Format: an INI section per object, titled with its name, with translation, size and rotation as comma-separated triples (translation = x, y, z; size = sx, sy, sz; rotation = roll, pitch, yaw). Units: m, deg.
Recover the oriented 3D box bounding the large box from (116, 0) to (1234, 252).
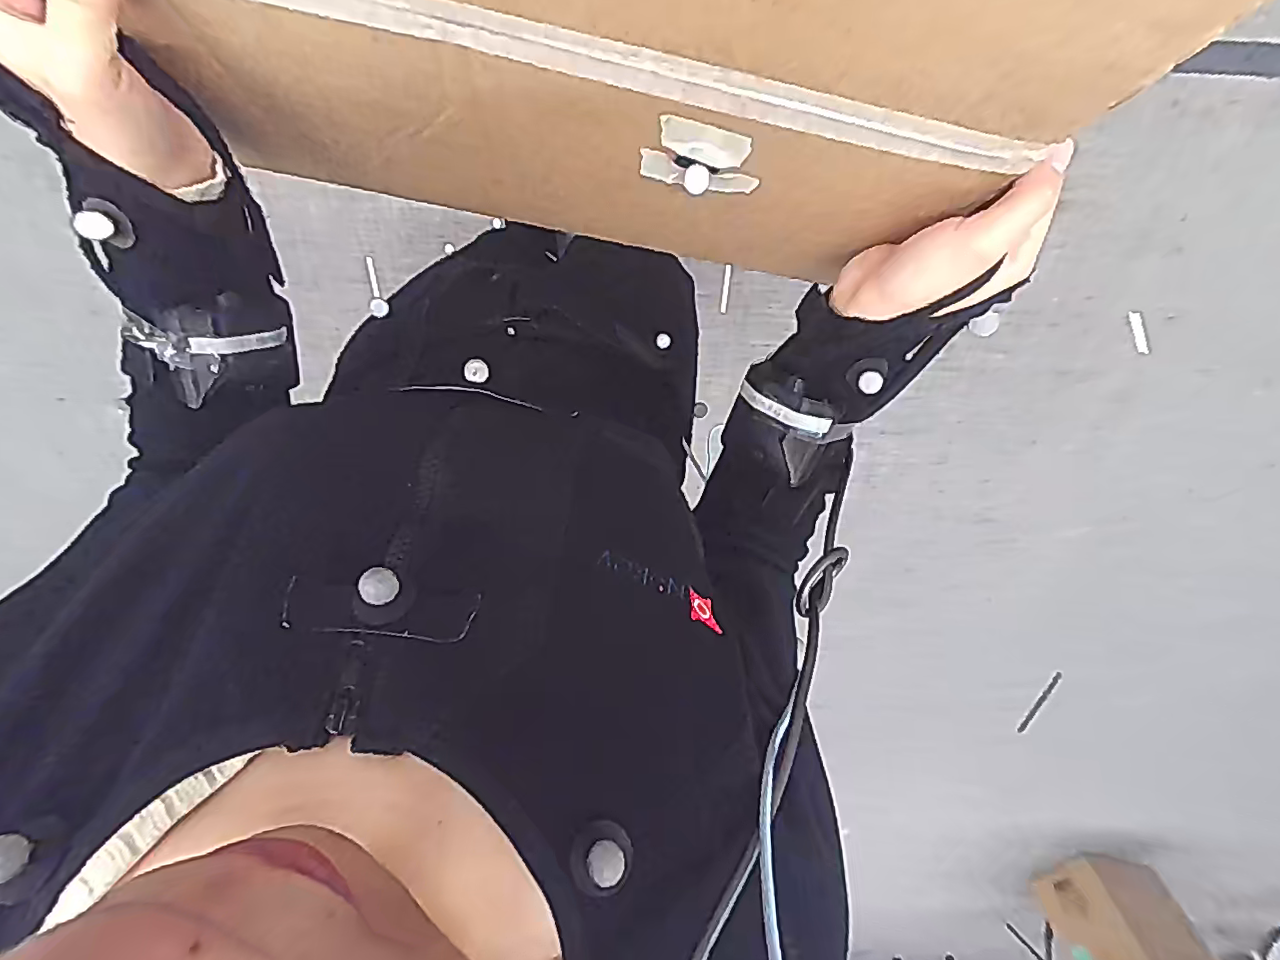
[large box]
translation = 0.002, -0.326, 0.187
size = 0.408, 0.320, 0.320
rotation = 8, 89, -6
